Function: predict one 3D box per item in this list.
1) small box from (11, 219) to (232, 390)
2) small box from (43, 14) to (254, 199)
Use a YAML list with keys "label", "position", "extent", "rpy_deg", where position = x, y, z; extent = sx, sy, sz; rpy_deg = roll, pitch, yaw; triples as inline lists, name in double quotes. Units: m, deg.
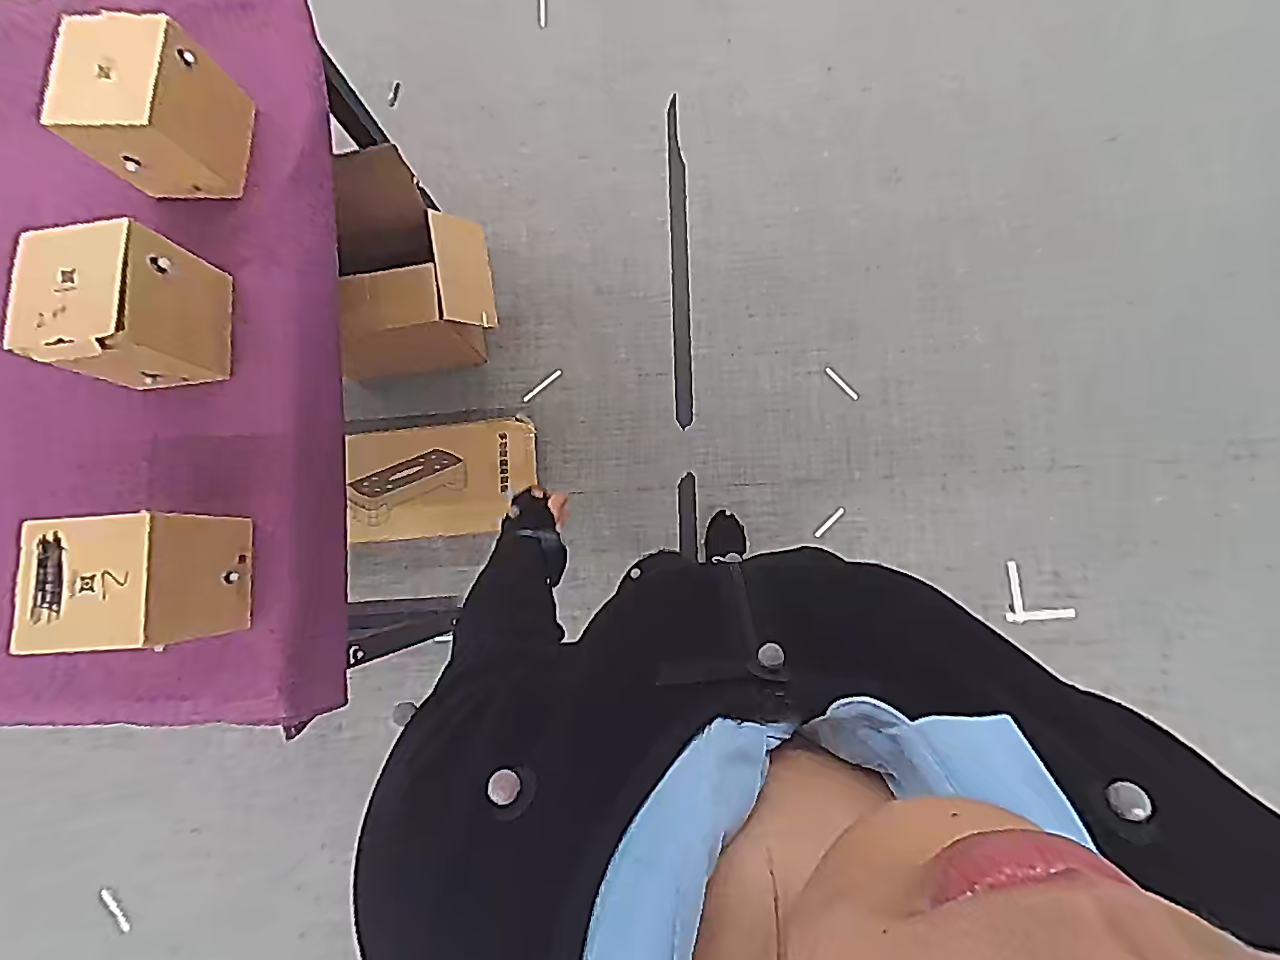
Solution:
- label: "small box"
  position: [-0.742, -0.247, 0.794]
  extent: [0.168, 0.176, 0.179]
  rpy_deg: [-5, 82, 6]
- label: "small box"
  position: [-0.741, -0.563, 0.836]
  extent: [0.168, 0.176, 0.179]
  rpy_deg: [2, 82, 4]
